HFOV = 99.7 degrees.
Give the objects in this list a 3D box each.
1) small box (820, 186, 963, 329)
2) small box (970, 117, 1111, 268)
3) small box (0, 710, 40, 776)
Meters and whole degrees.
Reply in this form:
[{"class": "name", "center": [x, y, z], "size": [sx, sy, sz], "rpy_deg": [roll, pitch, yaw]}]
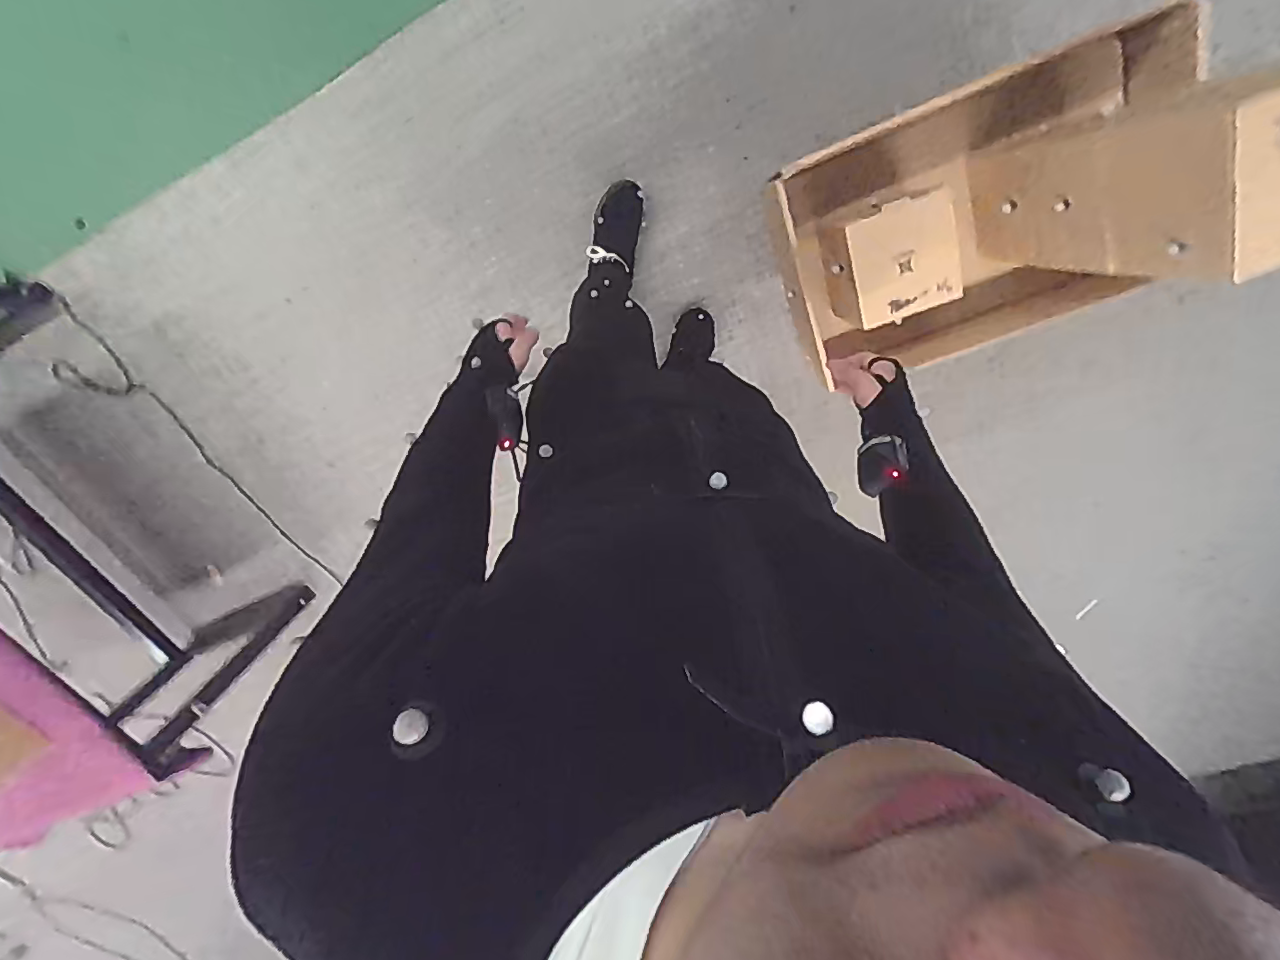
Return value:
[{"class": "small box", "center": [0.428, -0.383, 0.941], "size": [0.168, 0.176, 0.179], "rpy_deg": [-17, 113, 9]}, {"class": "small box", "center": [0.681, -0.473, 0.895], "size": [0.168, 0.176, 0.179], "rpy_deg": [-19, 113, 10]}, {"class": "small box", "center": [-1.437, 0.577, 1.114], "size": [0.168, 0.176, 0.179], "rpy_deg": [-27, 112, 14]}]
